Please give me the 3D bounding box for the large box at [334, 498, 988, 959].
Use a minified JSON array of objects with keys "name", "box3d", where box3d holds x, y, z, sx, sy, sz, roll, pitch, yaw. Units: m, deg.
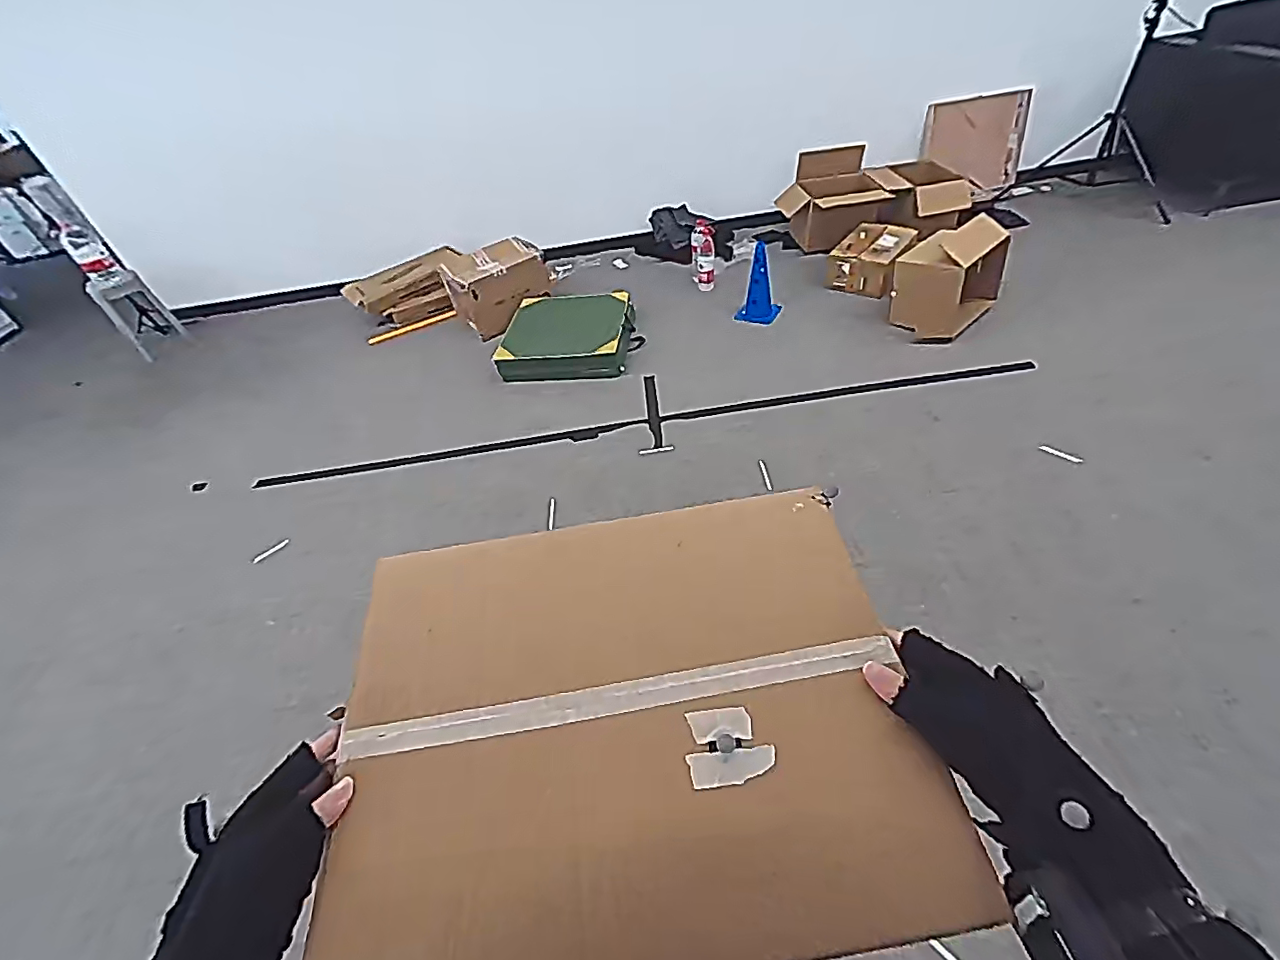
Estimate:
[{"name":"large box","box3d":[0.003,0.260,0.521,0.408,0.320,0.320,-9,52,-2]}]
